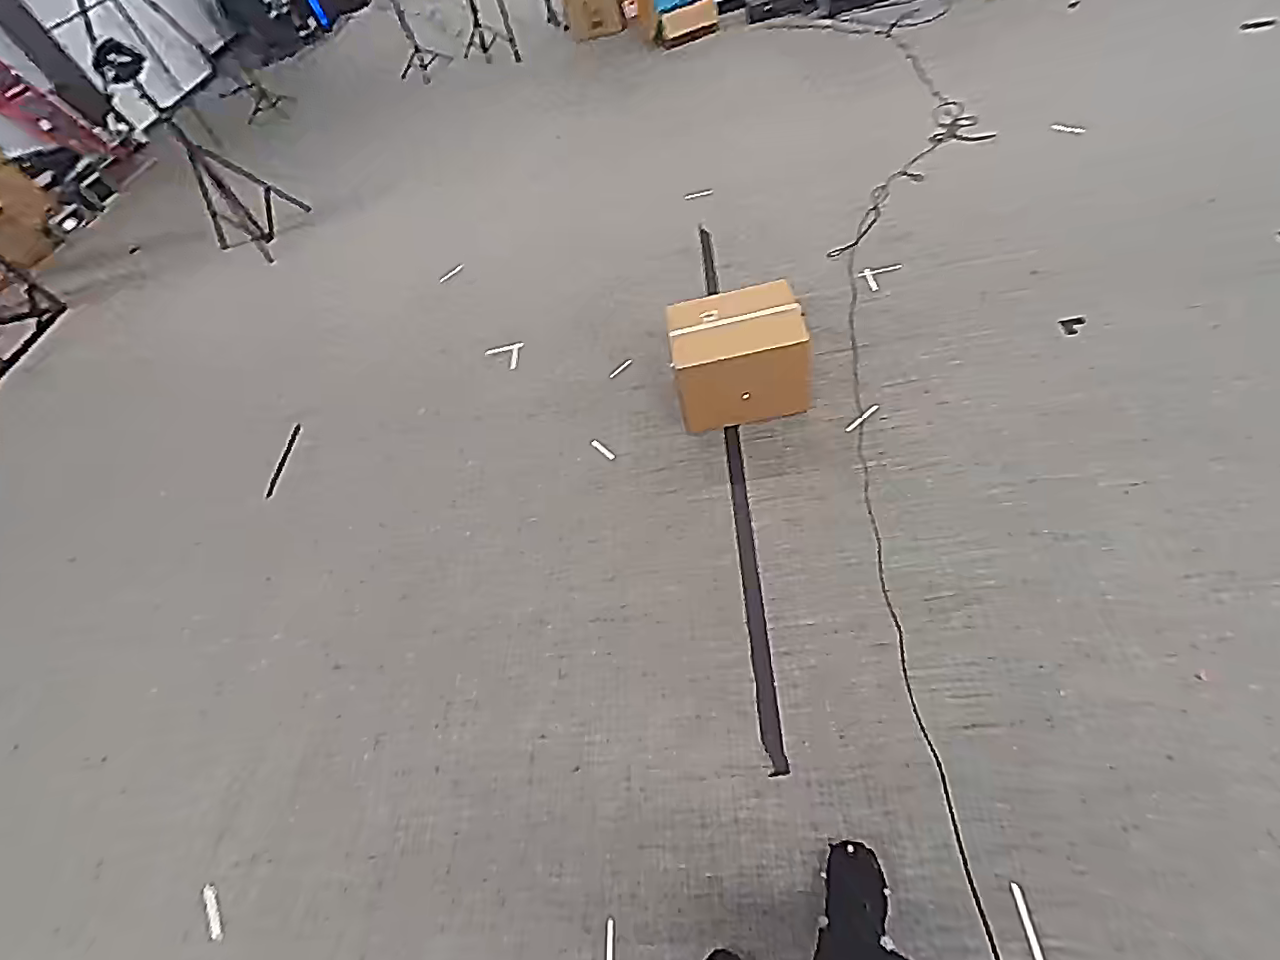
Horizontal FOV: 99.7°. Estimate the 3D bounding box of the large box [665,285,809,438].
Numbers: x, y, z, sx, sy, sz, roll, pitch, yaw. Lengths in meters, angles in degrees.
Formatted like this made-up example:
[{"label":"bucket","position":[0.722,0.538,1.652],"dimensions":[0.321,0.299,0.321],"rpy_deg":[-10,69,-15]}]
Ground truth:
[{"label":"large box","position":[0.320,-0.381,1.793],"dimensions":[0.408,0.320,0.320],"rpy_deg":[-11,52,9]}]
